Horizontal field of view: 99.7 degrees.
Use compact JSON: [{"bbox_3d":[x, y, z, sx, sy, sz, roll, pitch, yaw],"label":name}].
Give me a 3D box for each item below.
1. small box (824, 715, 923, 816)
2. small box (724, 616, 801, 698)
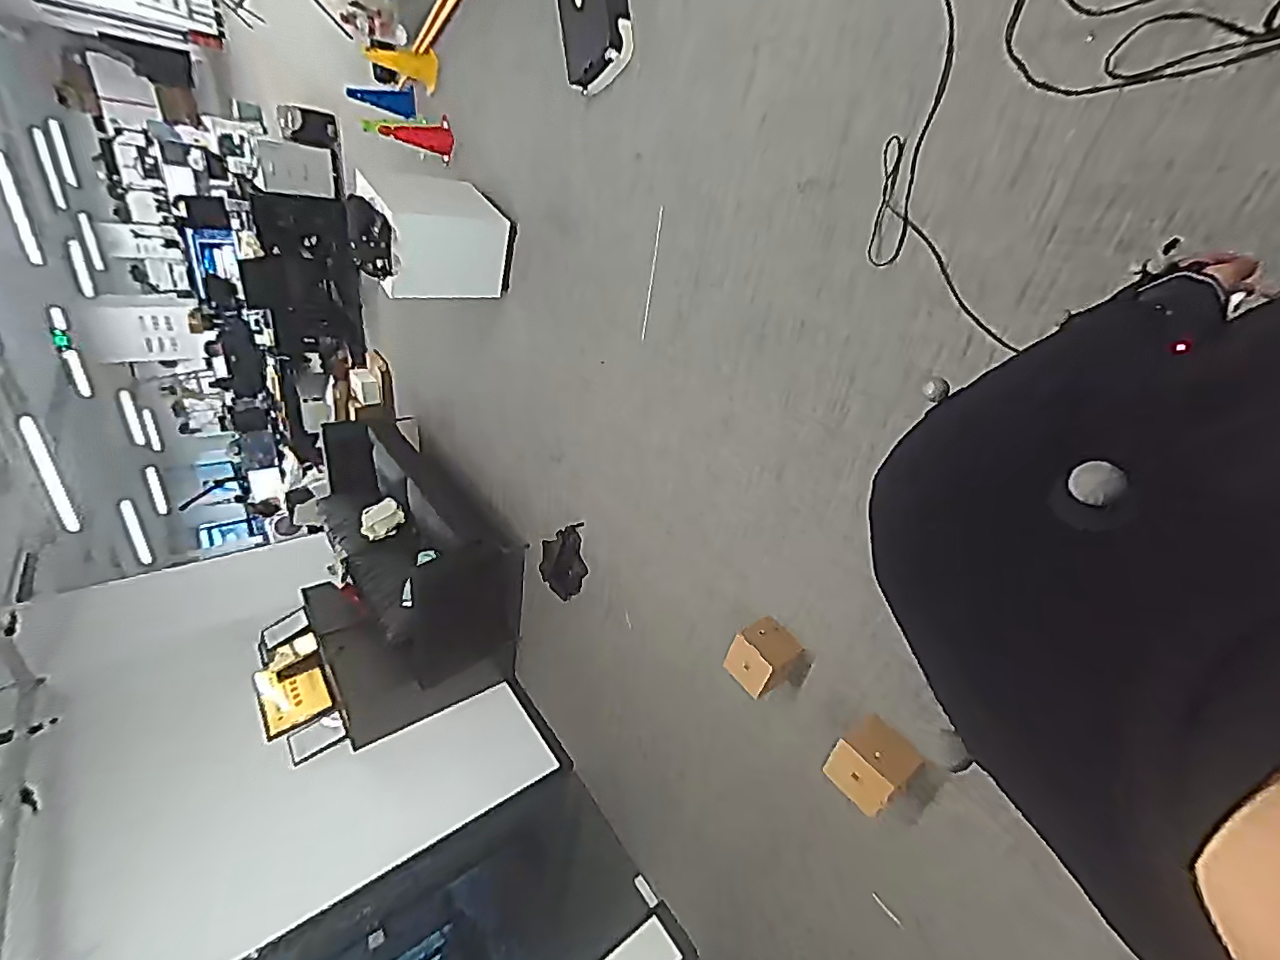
[{"bbox_3d":[0.680,0.818,1.576,0.179,0.176,0.168,38,129,39],"label":"small box"},{"bbox_3d":[0.420,0.593,1.835,0.168,0.176,0.179,43,133,37],"label":"small box"}]
